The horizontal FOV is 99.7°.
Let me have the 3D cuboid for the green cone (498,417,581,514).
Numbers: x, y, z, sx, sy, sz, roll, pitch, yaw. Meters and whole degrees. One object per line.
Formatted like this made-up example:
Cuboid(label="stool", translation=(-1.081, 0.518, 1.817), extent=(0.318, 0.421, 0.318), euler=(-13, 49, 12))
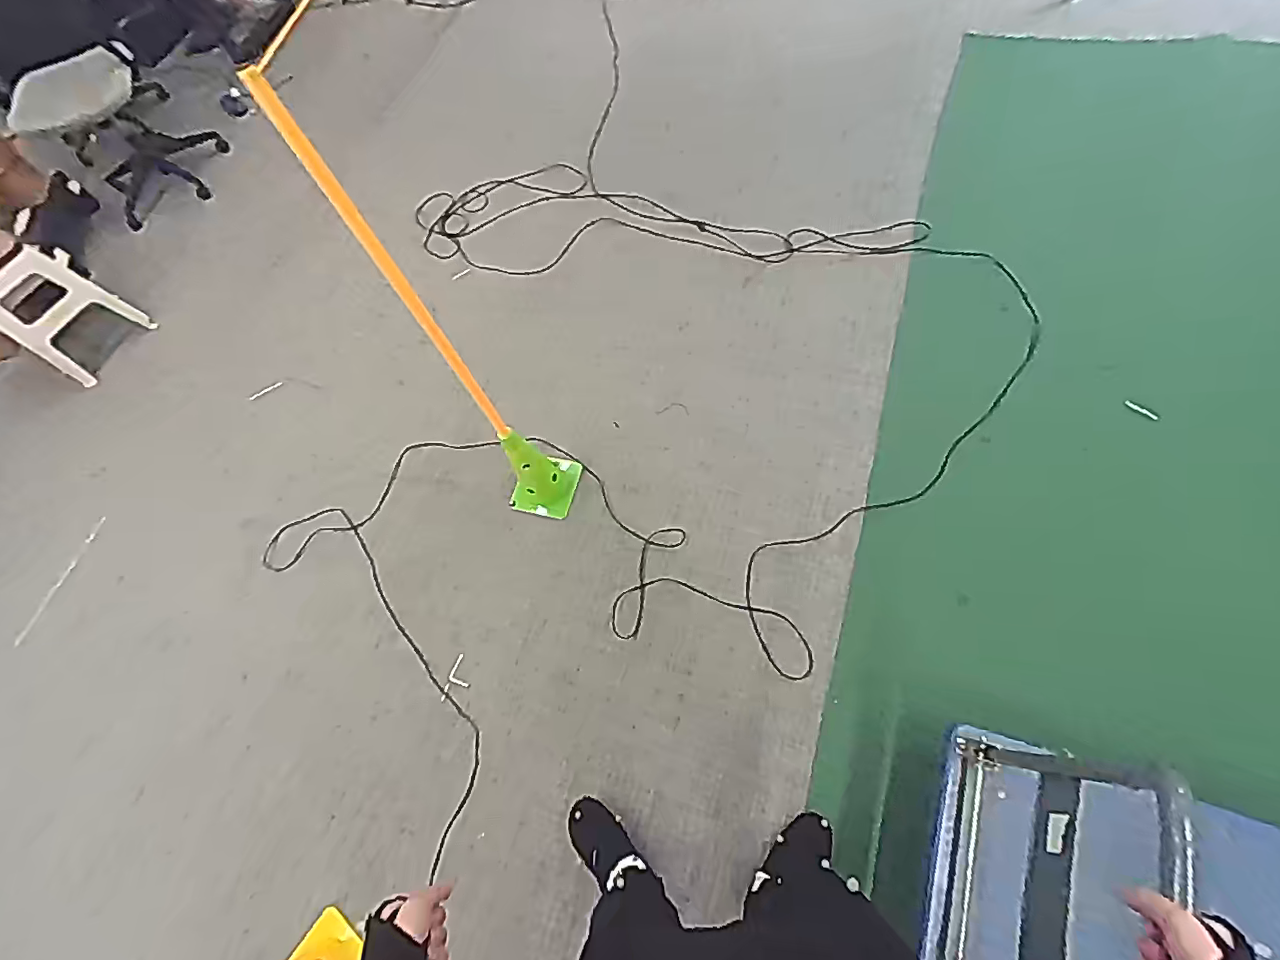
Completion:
Cuboid(label="green cone", translation=(-0.327, -0.068, 1.574), extent=(0.200, 0.368, 0.202), euler=(11, 67, 14))
